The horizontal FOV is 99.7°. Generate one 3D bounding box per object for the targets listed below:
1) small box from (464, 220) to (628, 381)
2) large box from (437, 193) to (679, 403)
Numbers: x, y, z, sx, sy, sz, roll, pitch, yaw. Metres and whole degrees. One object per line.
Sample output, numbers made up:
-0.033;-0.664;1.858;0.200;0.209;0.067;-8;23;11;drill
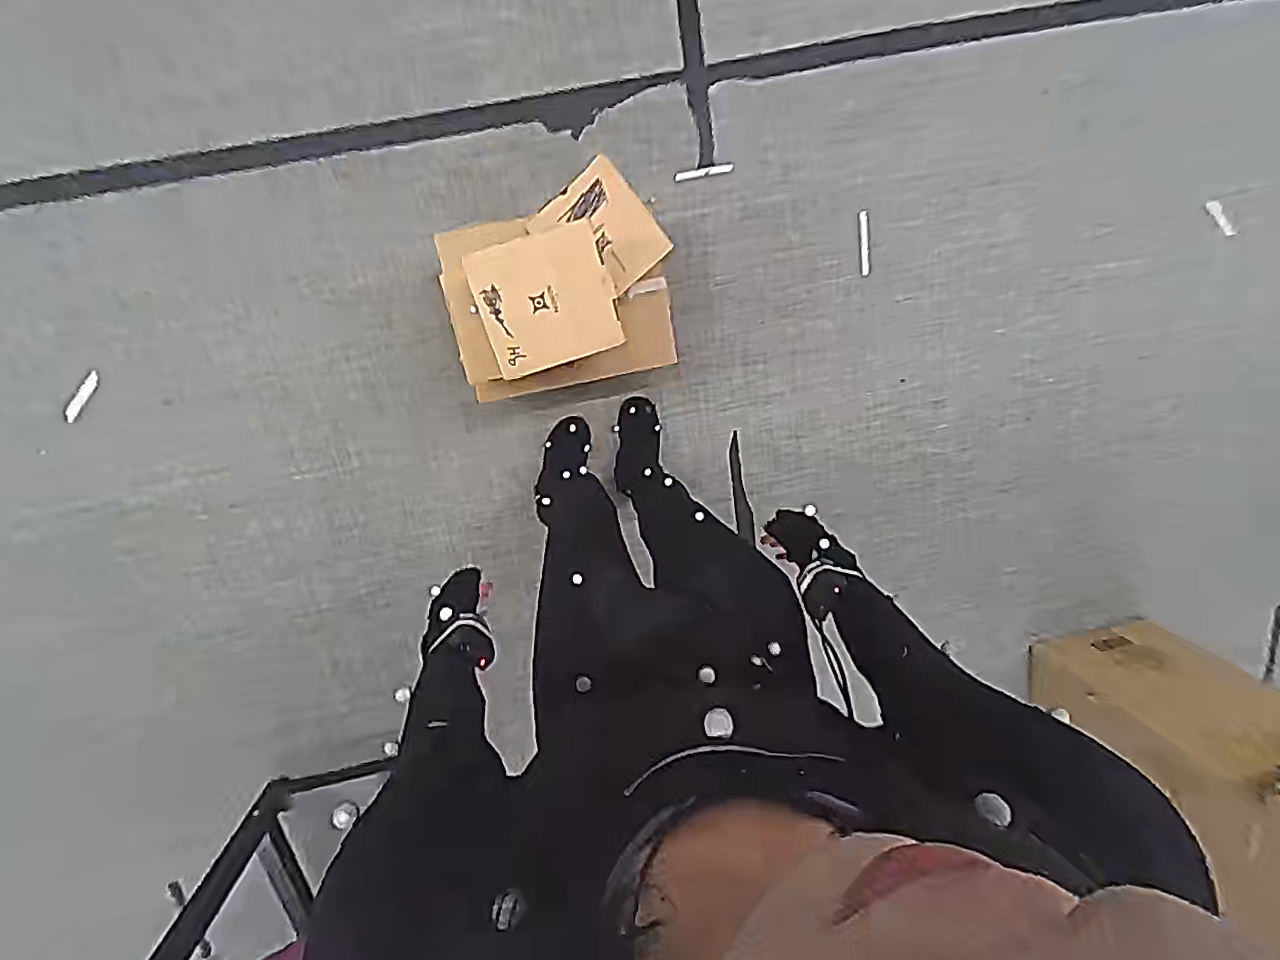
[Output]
-0.129;-0.254;0.779;0.179;0.176;0.168;-18;107;-2;small box
-0.164;-0.377;1.165;0.408;0.320;0.320;-13;107;-4;large box
